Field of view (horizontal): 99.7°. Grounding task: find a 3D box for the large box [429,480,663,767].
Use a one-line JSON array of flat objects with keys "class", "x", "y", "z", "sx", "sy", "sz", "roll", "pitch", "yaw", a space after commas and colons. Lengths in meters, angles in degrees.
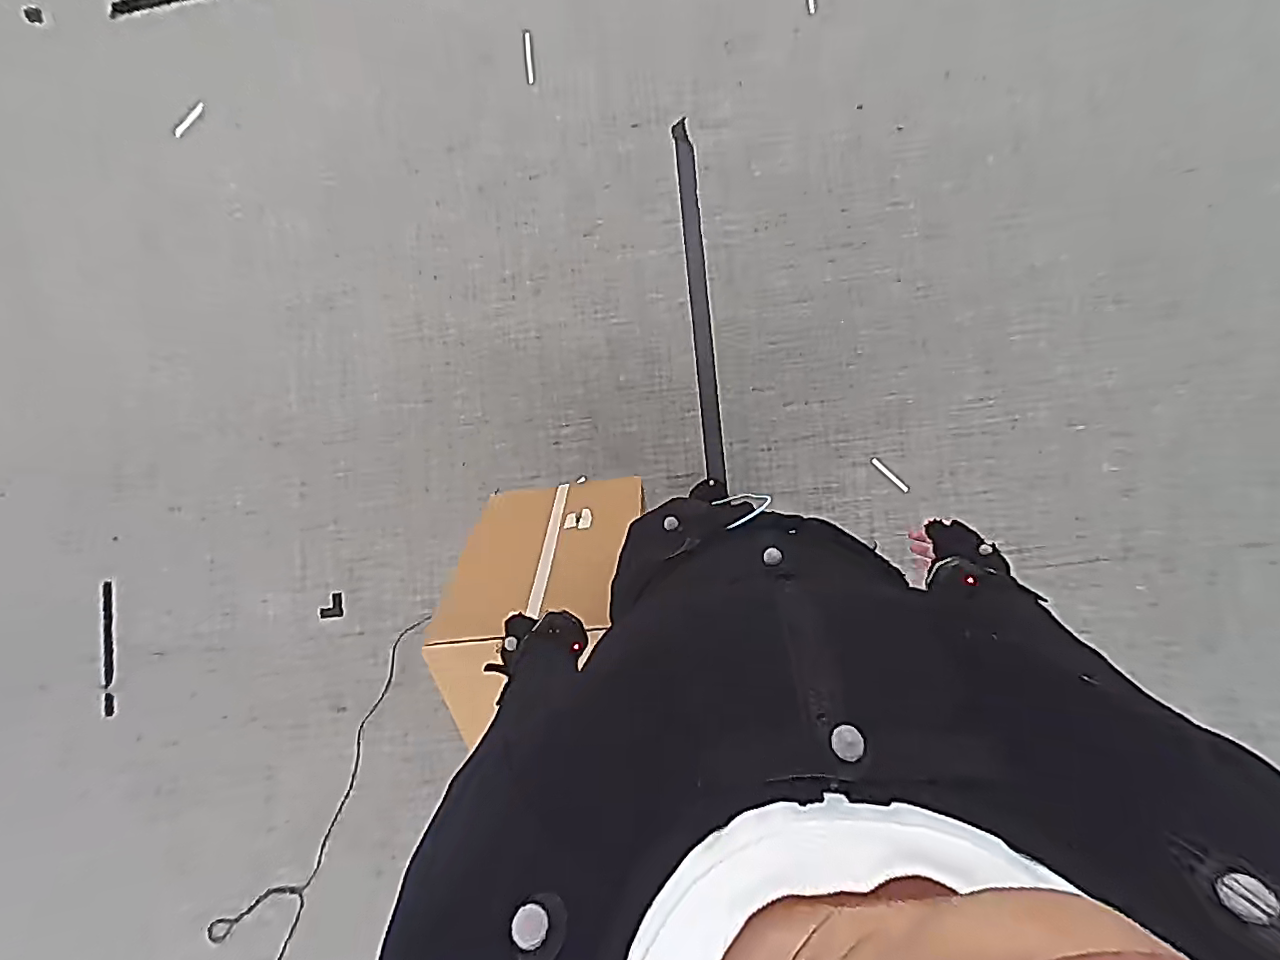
[{"class": "large box", "x": -0.132, "y": 0.243, "z": 0.997, "sx": 0.320, "sy": 0.408, "sz": 0.320, "roll": -5, "pitch": 120, "yaw": 4}]
